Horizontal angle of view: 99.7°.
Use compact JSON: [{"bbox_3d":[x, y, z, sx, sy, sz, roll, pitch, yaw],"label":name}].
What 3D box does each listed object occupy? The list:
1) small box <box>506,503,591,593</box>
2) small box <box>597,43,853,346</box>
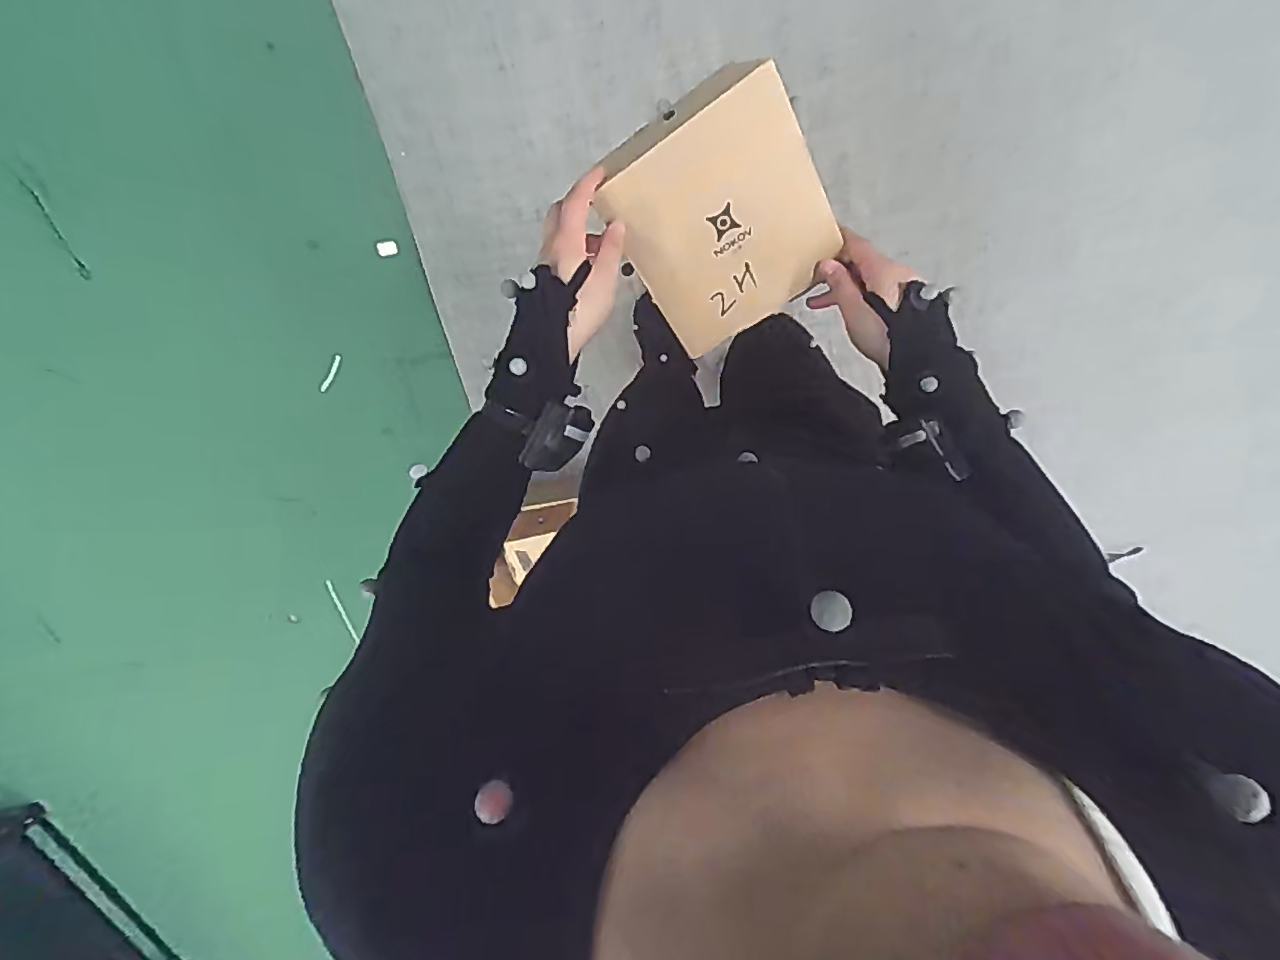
[{"bbox_3d":[-0.241,0.182,1.475,0.179,0.176,0.168,-13,112,5],"label":"small box"},{"bbox_3d":[0.071,-0.268,0.518,0.168,0.176,0.179,-28,124,16],"label":"small box"}]
